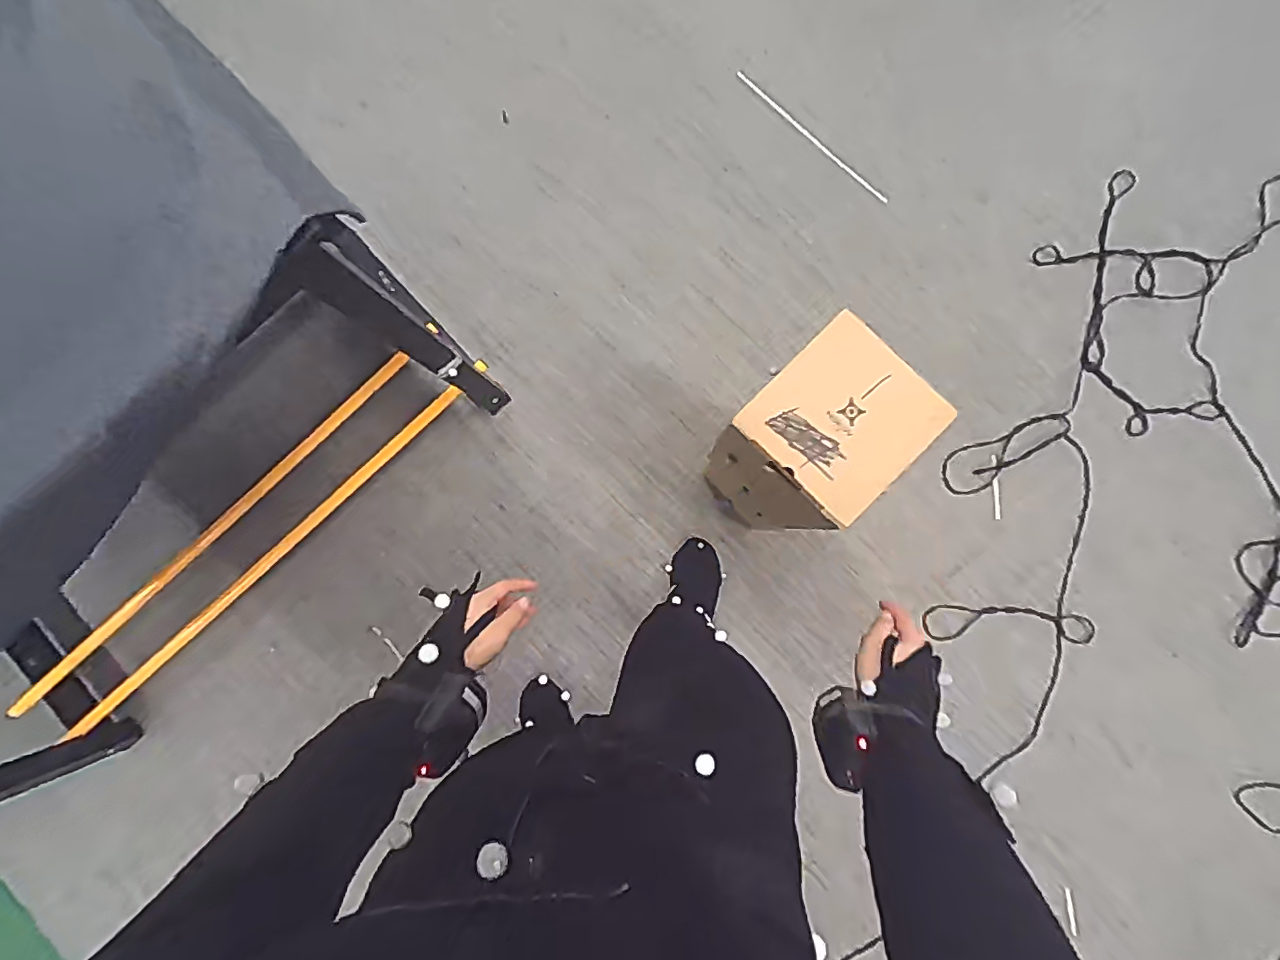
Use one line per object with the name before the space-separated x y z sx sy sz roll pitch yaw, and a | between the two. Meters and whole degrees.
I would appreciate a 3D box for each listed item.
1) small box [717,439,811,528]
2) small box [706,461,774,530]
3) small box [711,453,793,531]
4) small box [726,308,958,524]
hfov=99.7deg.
small box | 0.233 -0.046 0.808 0.179 0.176 0.168 -43 84 -1
small box | 0.258 -0.015 1.132 0.168 0.176 0.179 -41 86 -2
small box | 0.246 -0.027 0.971 0.168 0.176 0.179 -44 84 -2
small box | 0.218 -0.061 0.645 0.179 0.176 0.168 -44 85 -3
